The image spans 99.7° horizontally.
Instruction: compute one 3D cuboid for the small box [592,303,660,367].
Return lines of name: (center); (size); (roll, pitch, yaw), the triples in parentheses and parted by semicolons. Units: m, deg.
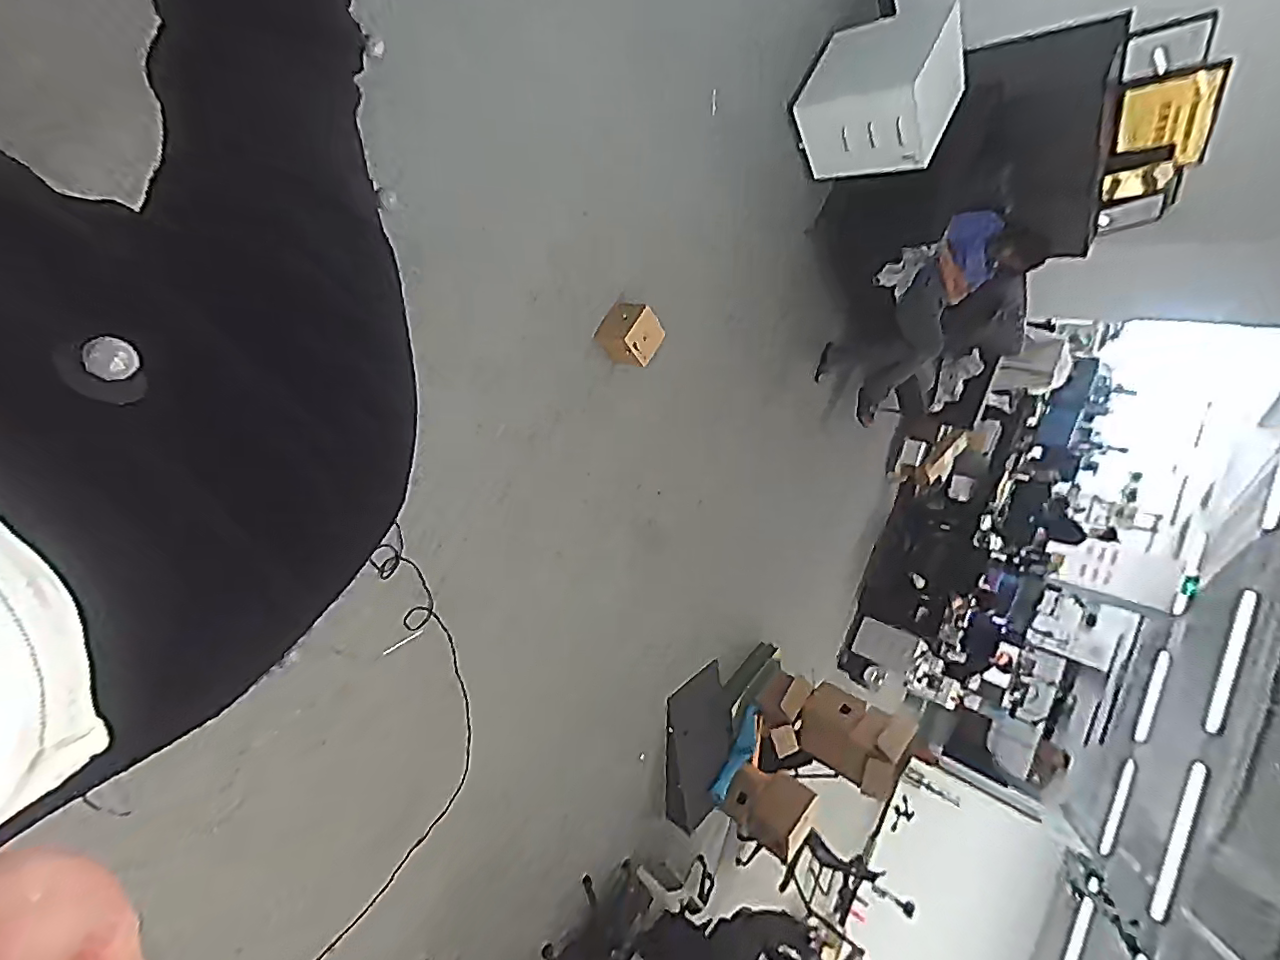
small box: (-0.056, -0.567, 2.094); (0.179, 0.176, 0.168); (-60, 140, -14)
